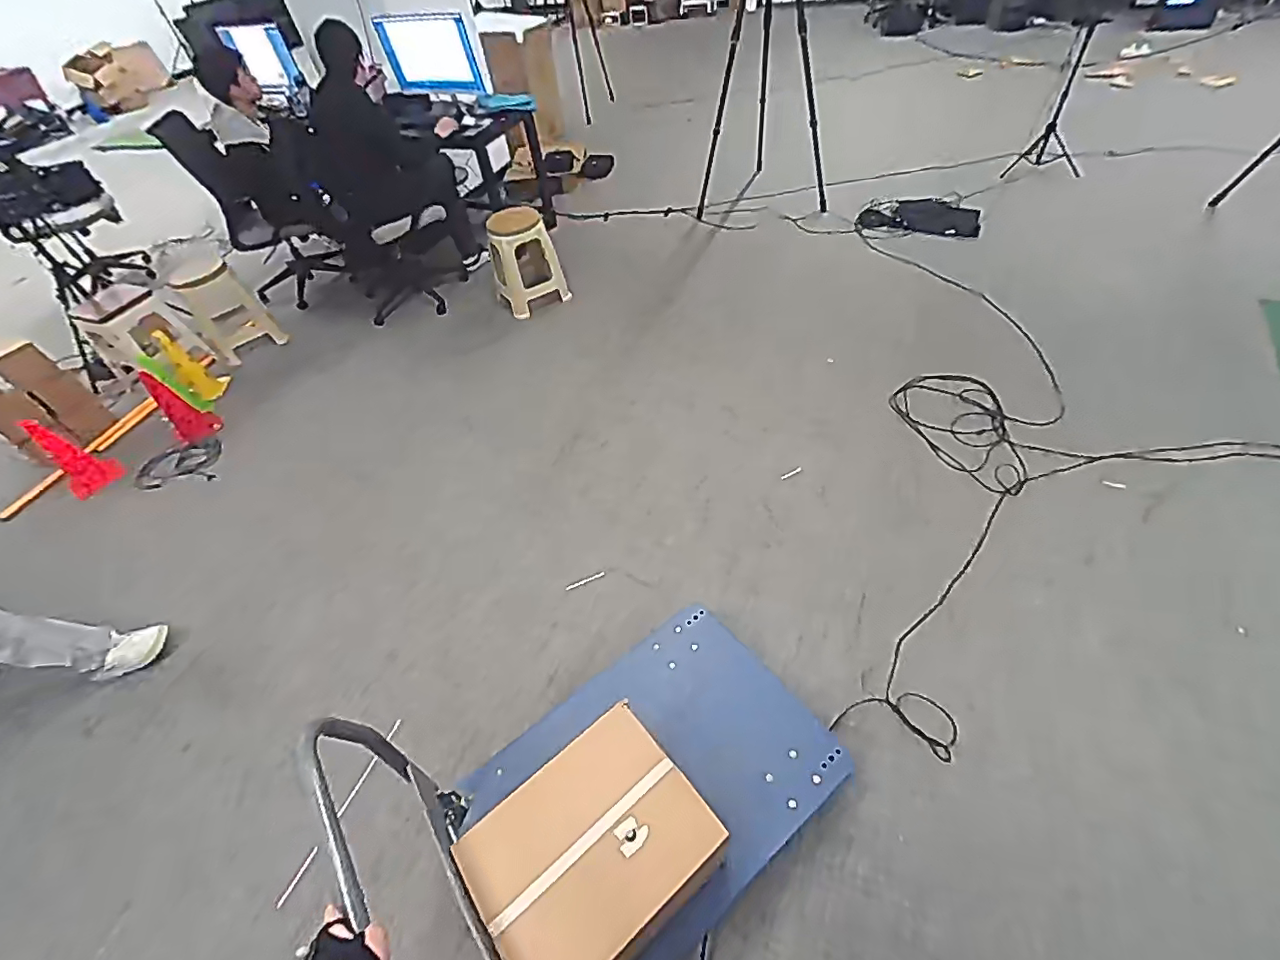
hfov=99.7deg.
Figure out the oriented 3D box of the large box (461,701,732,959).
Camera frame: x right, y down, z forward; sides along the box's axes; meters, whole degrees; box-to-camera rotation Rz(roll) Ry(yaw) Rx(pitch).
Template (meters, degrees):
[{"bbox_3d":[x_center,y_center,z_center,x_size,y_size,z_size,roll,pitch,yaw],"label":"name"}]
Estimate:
[{"bbox_3d":[-0.068,0.742,1.074,0.408,0.320,0.320,-34,53,-22],"label":"large box"}]
